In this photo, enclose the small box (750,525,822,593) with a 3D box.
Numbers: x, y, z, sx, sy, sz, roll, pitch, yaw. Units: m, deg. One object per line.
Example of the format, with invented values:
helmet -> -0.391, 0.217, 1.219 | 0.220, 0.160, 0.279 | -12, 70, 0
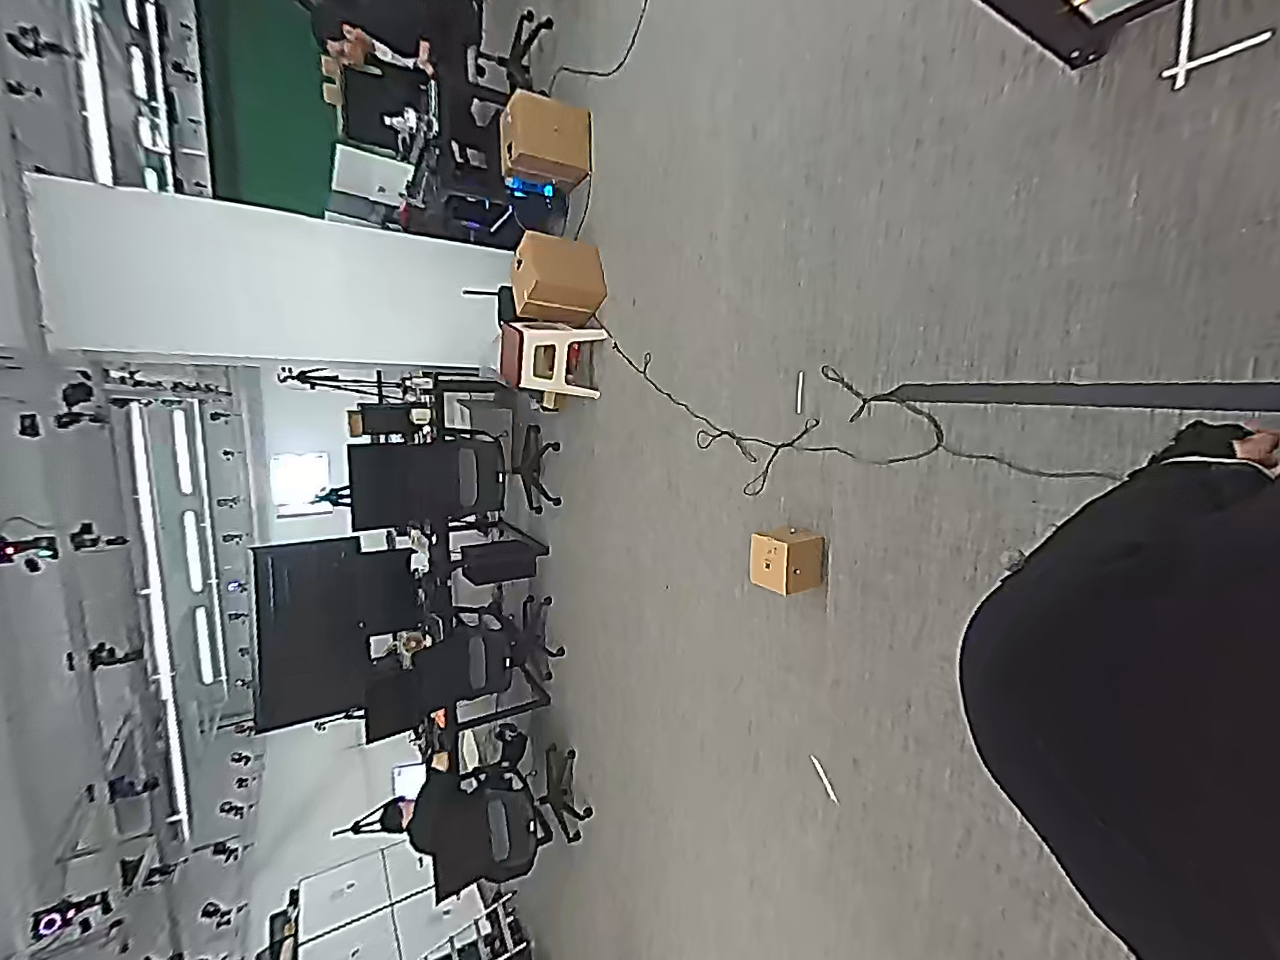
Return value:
small box -> 0.490, 0.258, 1.812 | 0.168, 0.176, 0.179 | 14, 107, 56
